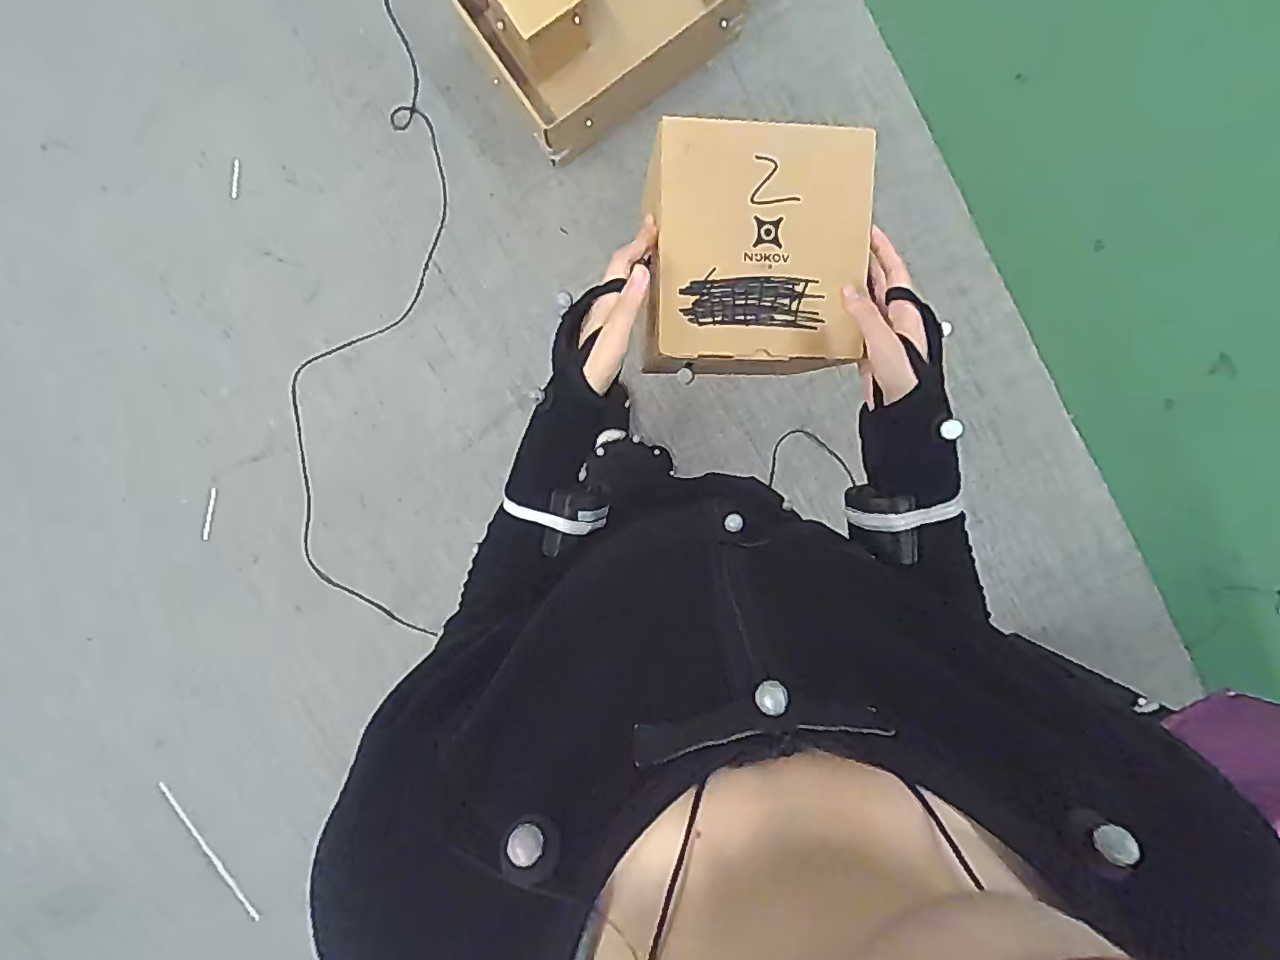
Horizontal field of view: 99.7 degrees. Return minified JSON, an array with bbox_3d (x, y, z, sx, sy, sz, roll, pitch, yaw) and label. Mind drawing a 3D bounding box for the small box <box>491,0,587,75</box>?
[{"bbox_3d":[-0.238,-1.112,1.269,0.179,0.176,0.168,-36,97,0],"label":"small box"}]
